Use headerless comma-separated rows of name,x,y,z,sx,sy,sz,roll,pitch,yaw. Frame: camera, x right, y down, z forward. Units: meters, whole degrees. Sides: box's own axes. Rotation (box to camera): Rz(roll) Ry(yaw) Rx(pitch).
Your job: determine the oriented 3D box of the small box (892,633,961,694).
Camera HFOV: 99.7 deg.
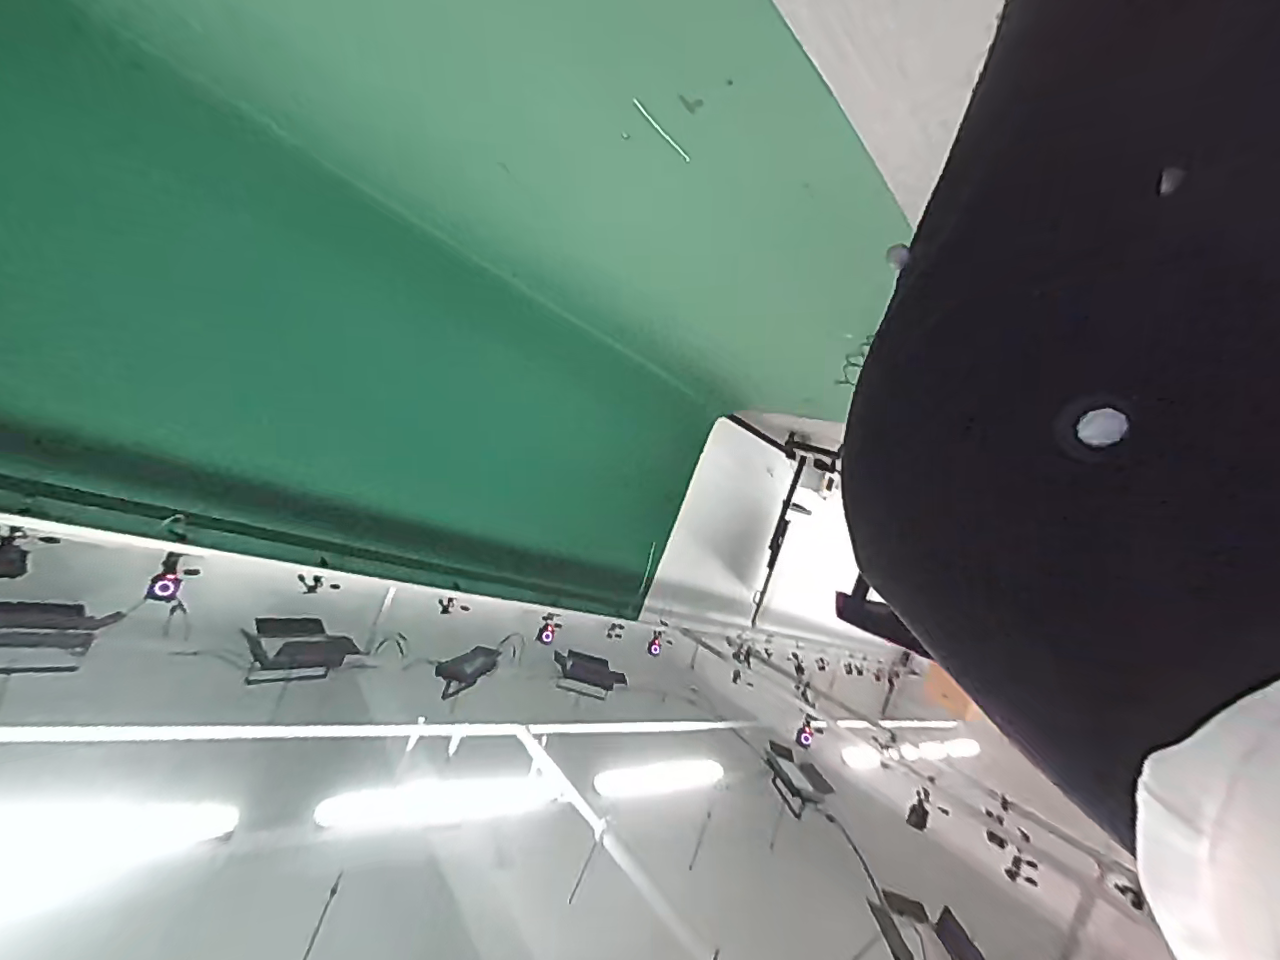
small box,1.120,0.707,2.100,0.168,0.176,0.179,20,180,-43
